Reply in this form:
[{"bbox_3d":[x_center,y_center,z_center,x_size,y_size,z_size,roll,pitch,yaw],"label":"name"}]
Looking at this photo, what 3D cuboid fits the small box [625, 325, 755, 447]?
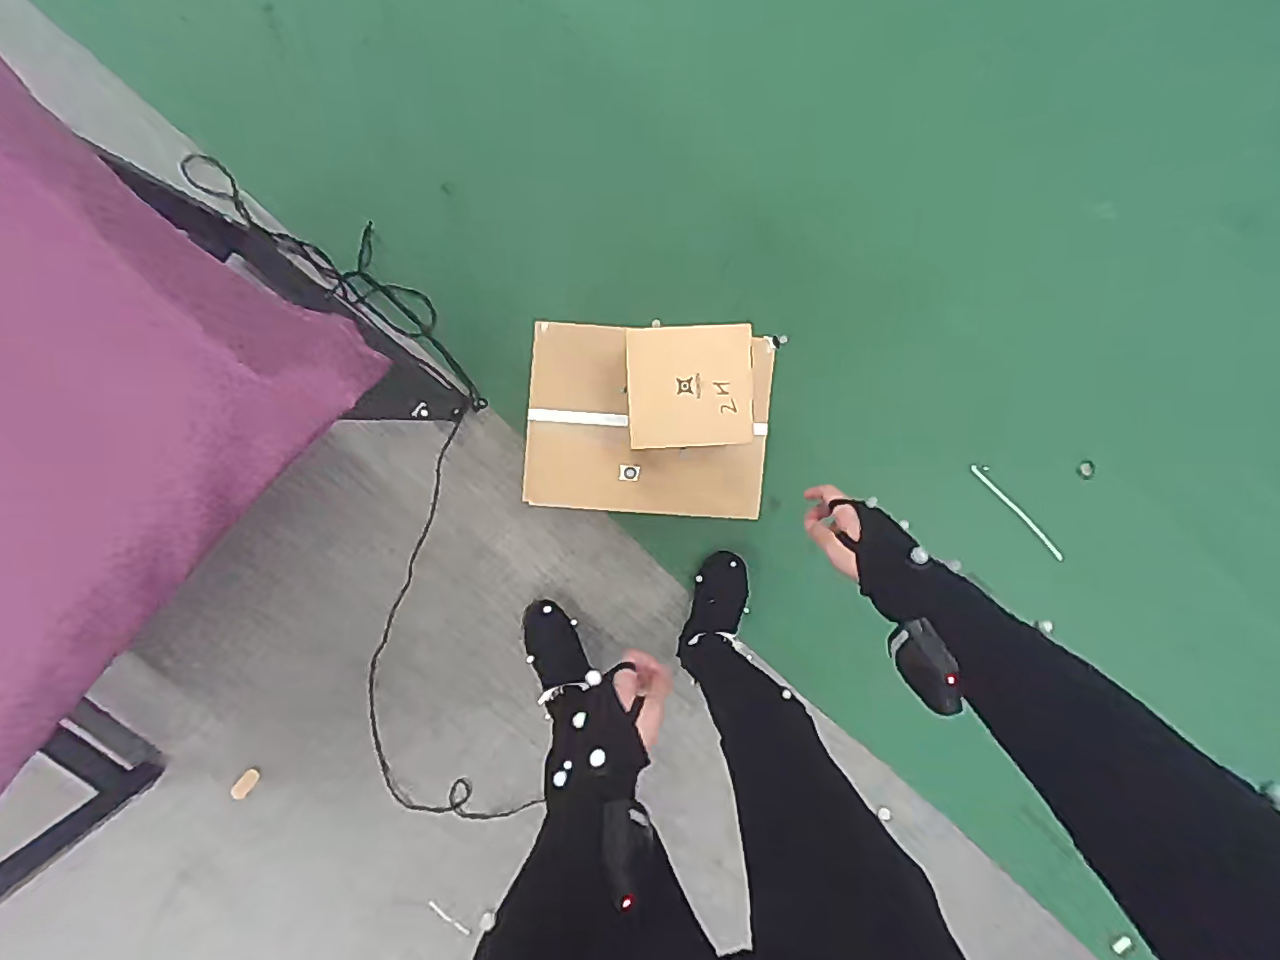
[{"bbox_3d":[0.069,-0.134,0.821,0.179,0.176,0.168,-2,95,-1],"label":"small box"}]
